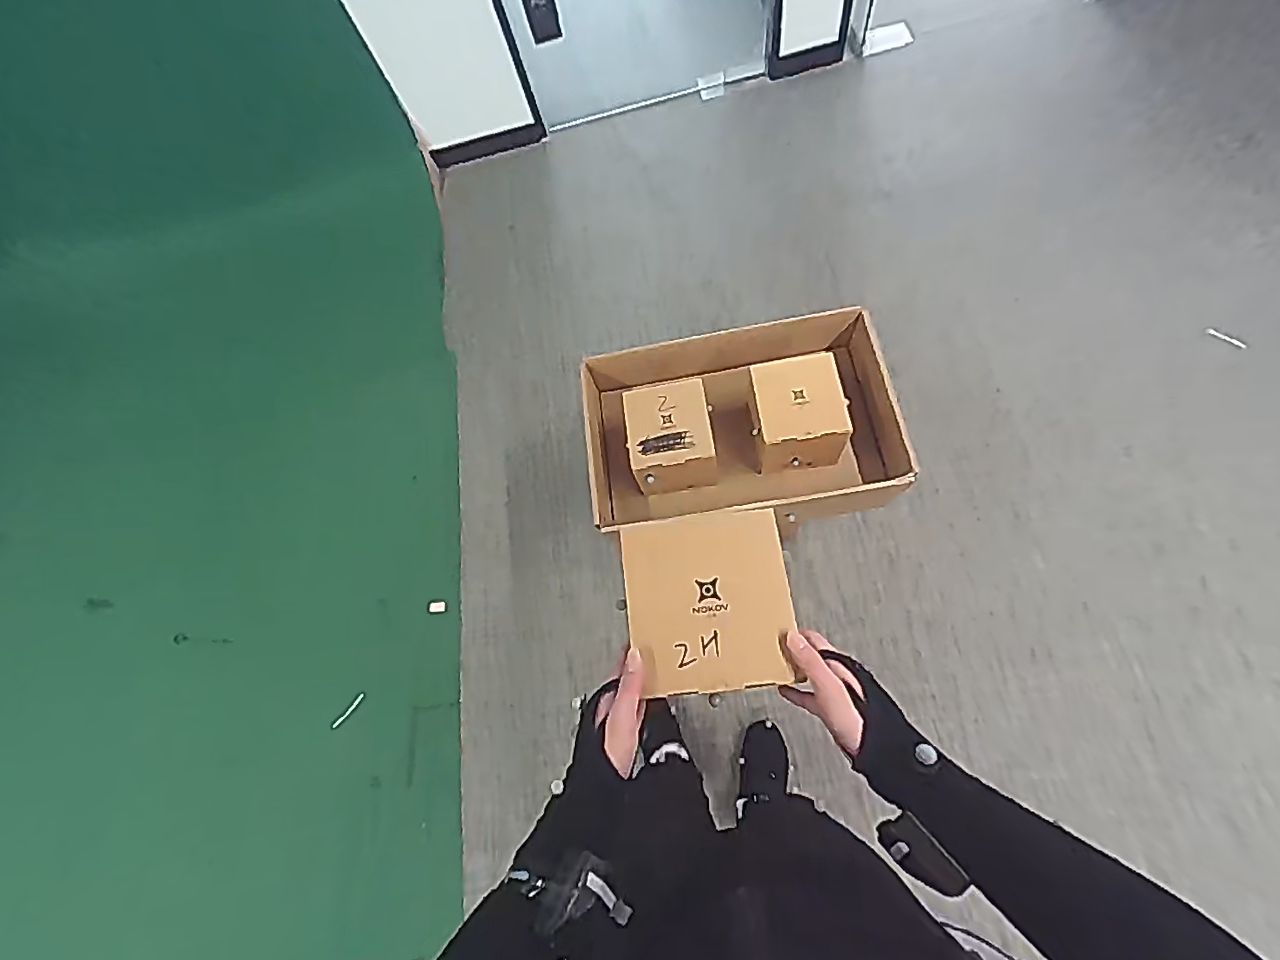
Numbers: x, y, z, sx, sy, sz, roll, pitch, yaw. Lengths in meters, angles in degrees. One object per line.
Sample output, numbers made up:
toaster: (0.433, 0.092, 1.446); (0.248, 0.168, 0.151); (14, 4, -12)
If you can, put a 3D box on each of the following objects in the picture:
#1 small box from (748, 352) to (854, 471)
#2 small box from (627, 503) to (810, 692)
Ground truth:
small box: (0.320, -0.135, 1.113); (0.168, 0.176, 0.179); (-8, 70, 5)
small box: (0.076, 0.141, 0.611); (0.168, 0.176, 0.179); (-6, 69, 2)
